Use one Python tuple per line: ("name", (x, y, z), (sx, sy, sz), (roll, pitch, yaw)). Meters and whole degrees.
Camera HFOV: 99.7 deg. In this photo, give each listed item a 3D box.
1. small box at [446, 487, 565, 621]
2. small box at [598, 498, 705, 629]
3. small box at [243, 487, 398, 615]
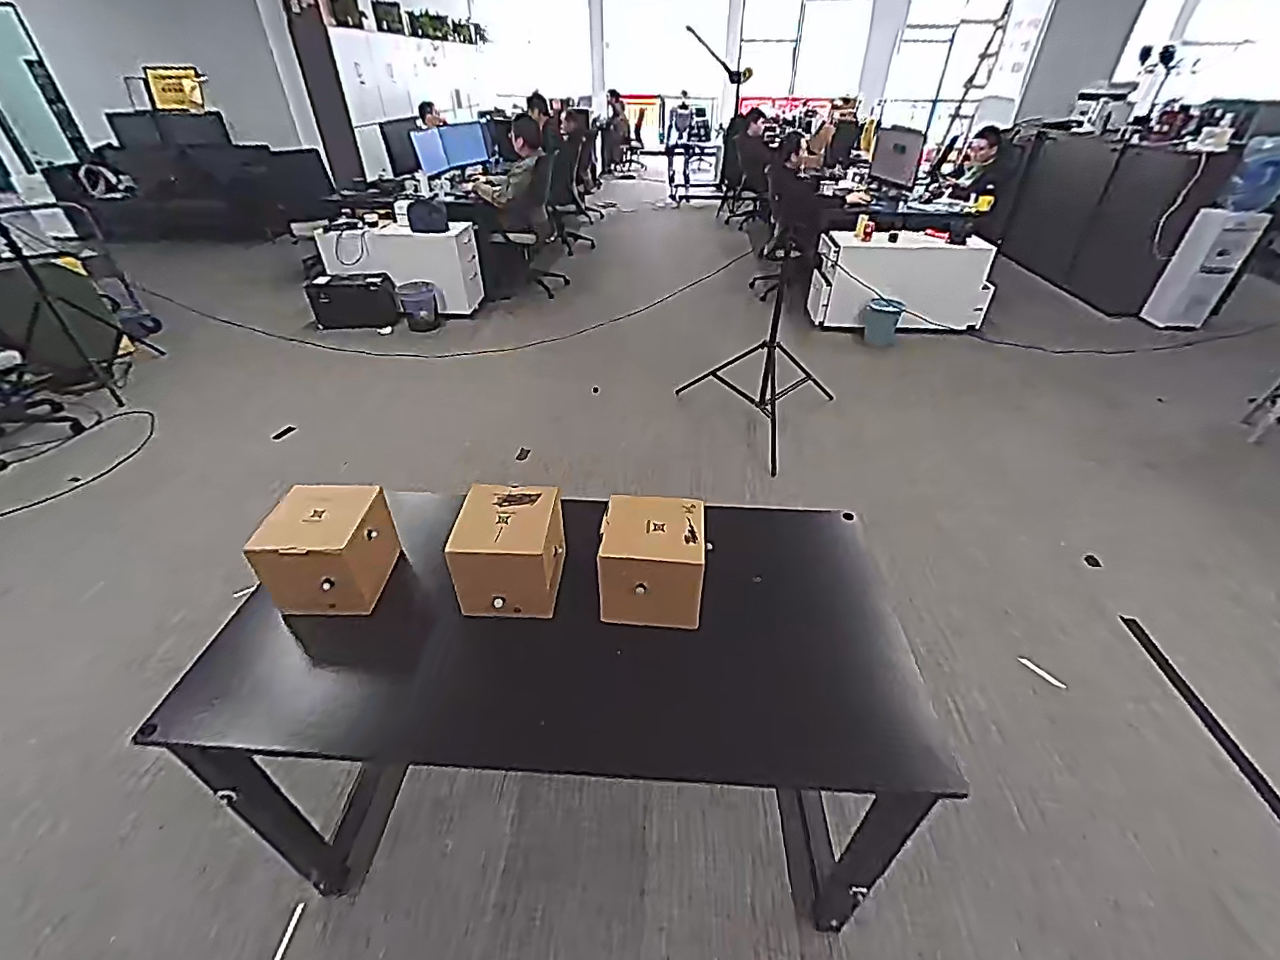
("small box", (-0.233, 0.133, 0.990), (0.168, 0.176, 0.179), (1, 38, 1))
("small box", (0.026, 0.149, 0.974), (0.179, 0.176, 0.168), (3, 37, 4))
("small box", (-0.566, 0.131, 0.990), (0.168, 0.176, 0.179), (1, 36, -2))
